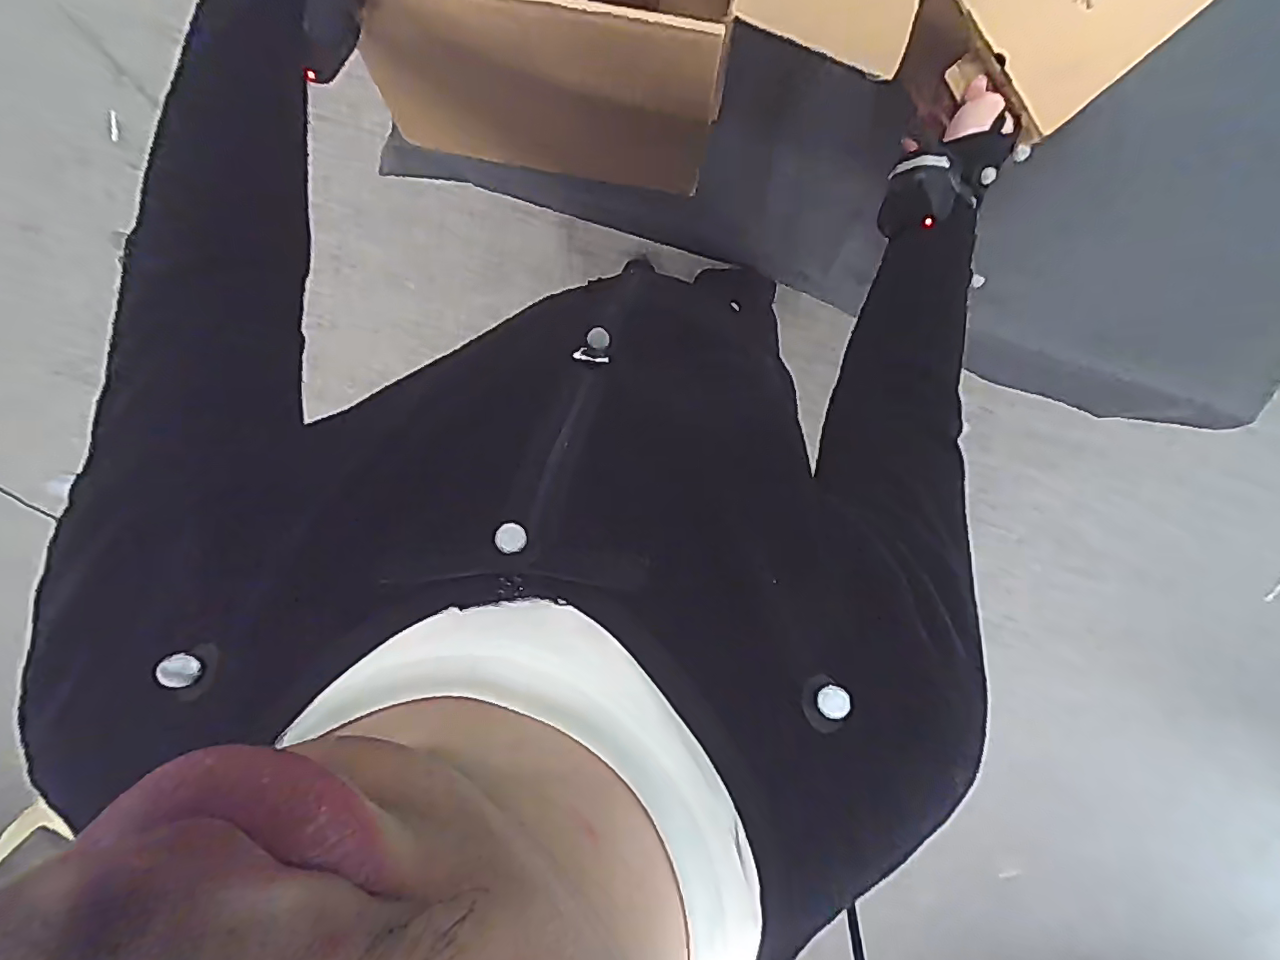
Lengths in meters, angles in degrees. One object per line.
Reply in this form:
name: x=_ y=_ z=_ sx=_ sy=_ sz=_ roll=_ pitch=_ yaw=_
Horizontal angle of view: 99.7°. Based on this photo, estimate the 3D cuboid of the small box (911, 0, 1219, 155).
small box: x=0.400 y=-0.462 z=0.538 sx=0.179 sy=0.176 sz=0.168 roll=-35 pitch=104 yaw=20
